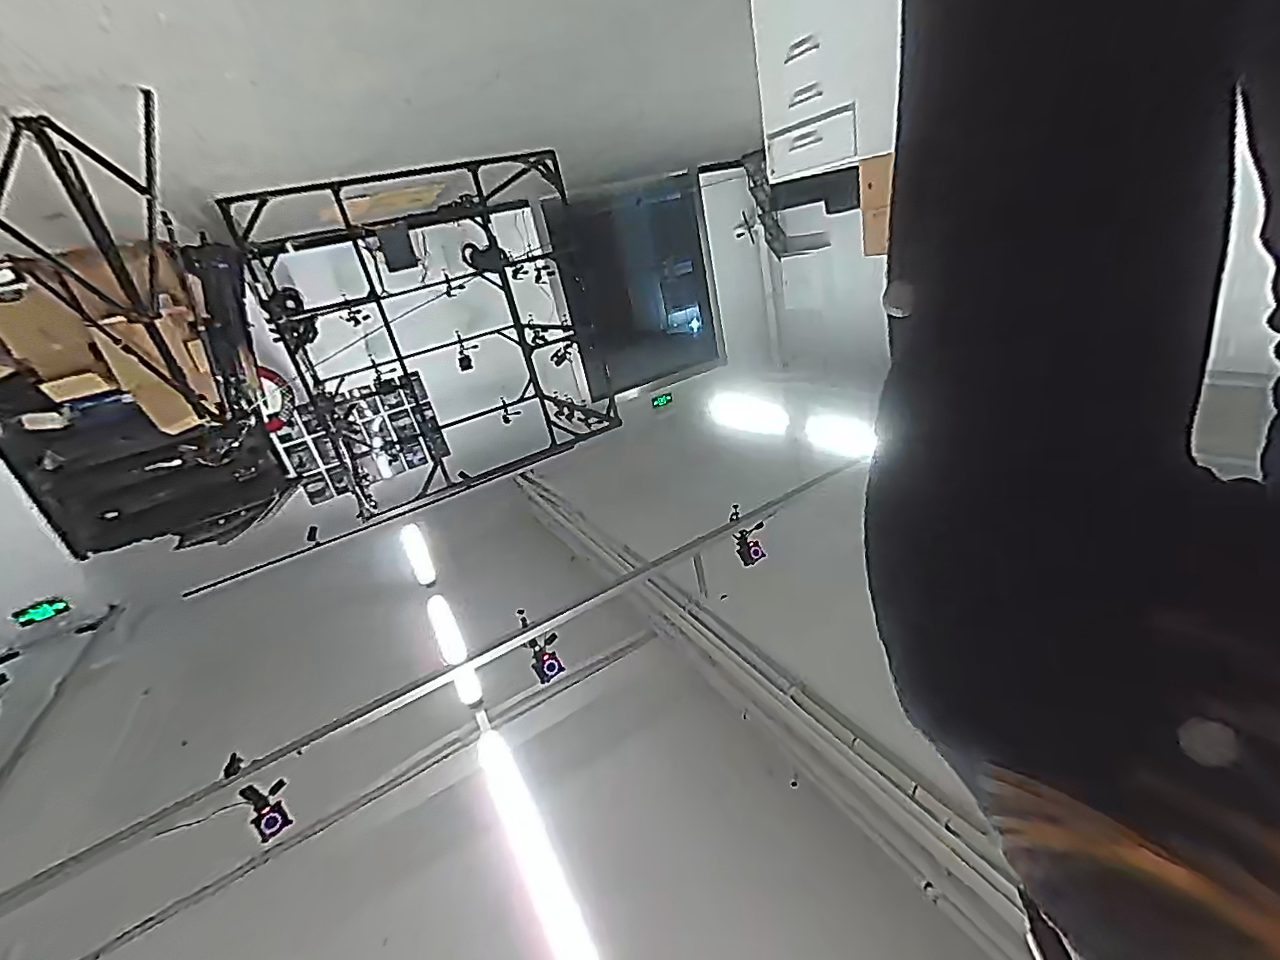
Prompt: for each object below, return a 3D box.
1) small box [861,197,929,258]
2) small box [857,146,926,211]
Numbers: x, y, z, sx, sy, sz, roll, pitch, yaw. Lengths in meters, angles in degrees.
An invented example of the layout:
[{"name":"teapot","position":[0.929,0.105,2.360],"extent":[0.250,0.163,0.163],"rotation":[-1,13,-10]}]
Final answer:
[{"name":"small box","position":[0.945,-0.939,2.010],"extent":[0.179,0.176,0.168],"rotation":[-25,-152,-21]},{"name":"small box","position":[0.905,-1.082,1.940],"extent":[0.168,0.176,0.179],"rotation":[-26,-153,-25]}]
